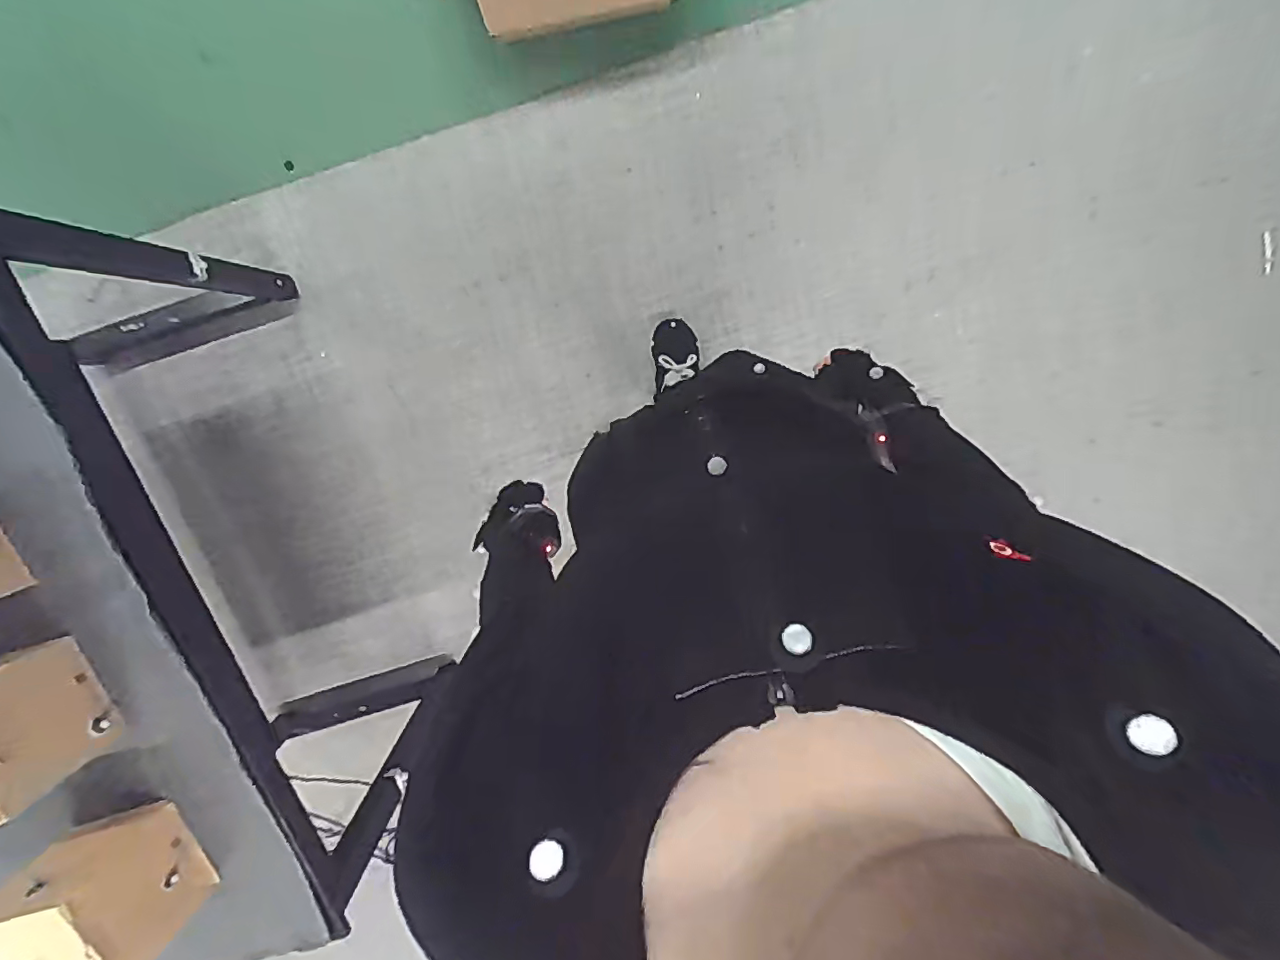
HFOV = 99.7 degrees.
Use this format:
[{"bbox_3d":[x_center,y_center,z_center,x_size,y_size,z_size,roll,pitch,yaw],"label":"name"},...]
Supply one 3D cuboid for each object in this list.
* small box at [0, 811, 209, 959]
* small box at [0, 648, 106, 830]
[{"bbox_3d":[-0.773,0.611,0.757,0.179,0.176,0.168,-18,102,3],"label":"small box"},{"bbox_3d":[-0.856,0.342,0.694,0.179,0.176,0.168,-17,102,3],"label":"small box"}]
